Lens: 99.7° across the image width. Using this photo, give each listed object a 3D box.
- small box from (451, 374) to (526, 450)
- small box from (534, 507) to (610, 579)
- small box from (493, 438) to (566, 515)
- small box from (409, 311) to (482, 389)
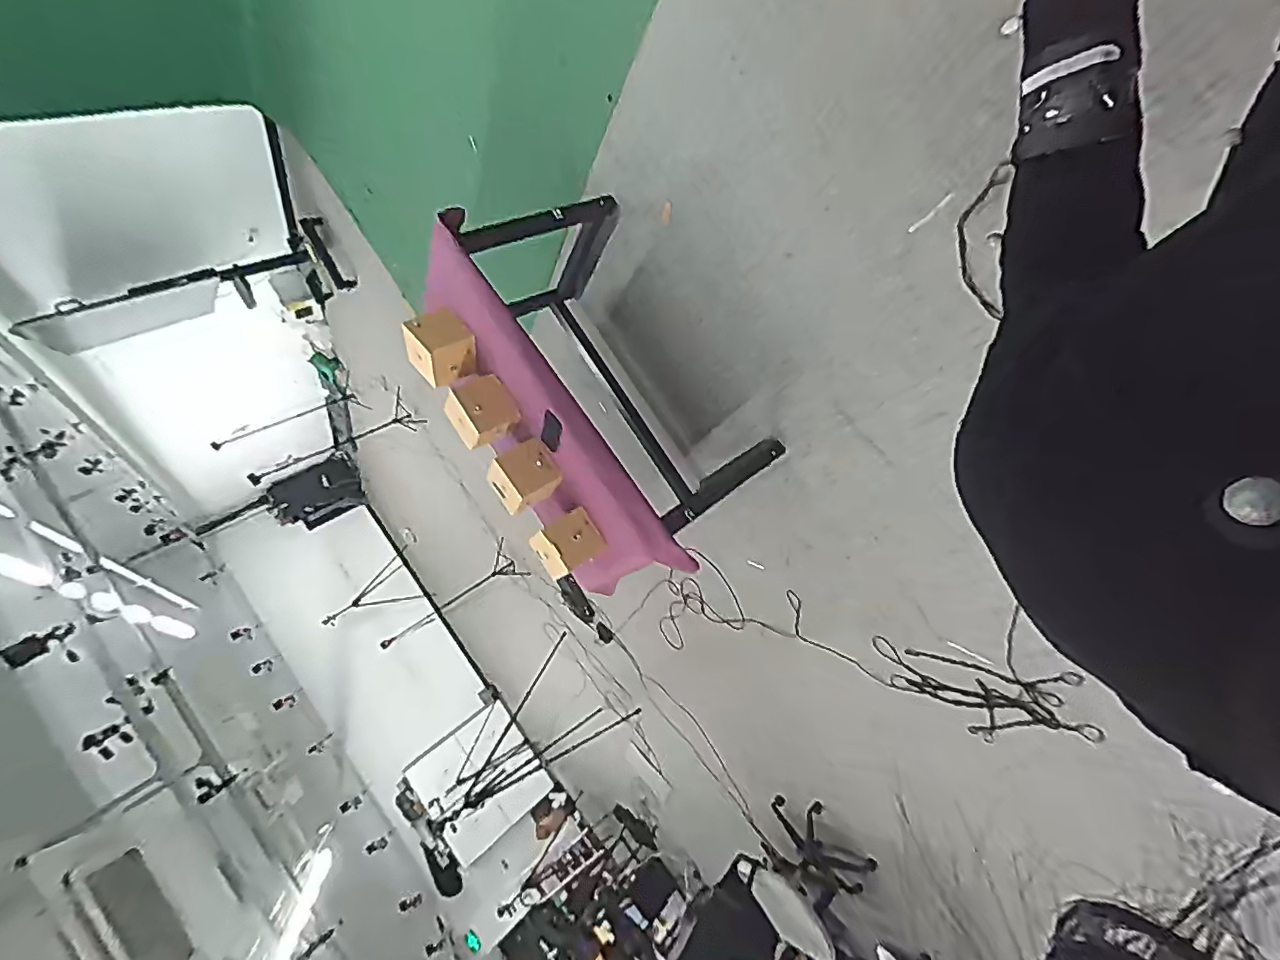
[{"bbox_3d":[-0.513,-0.231,1.838,0.179,0.176,0.168,58,148,0],"label":"small box"},{"bbox_3d":[-0.225,0.210,1.823,0.168,0.176,0.179,57,148,2],"label":"small box"},{"bbox_3d":[-0.374,-0.012,1.835,0.168,0.176,0.179,54,148,6],"label":"small box"},{"bbox_3d":[-0.653,-0.449,1.842,0.179,0.176,0.168,45,147,20],"label":"small box"}]
